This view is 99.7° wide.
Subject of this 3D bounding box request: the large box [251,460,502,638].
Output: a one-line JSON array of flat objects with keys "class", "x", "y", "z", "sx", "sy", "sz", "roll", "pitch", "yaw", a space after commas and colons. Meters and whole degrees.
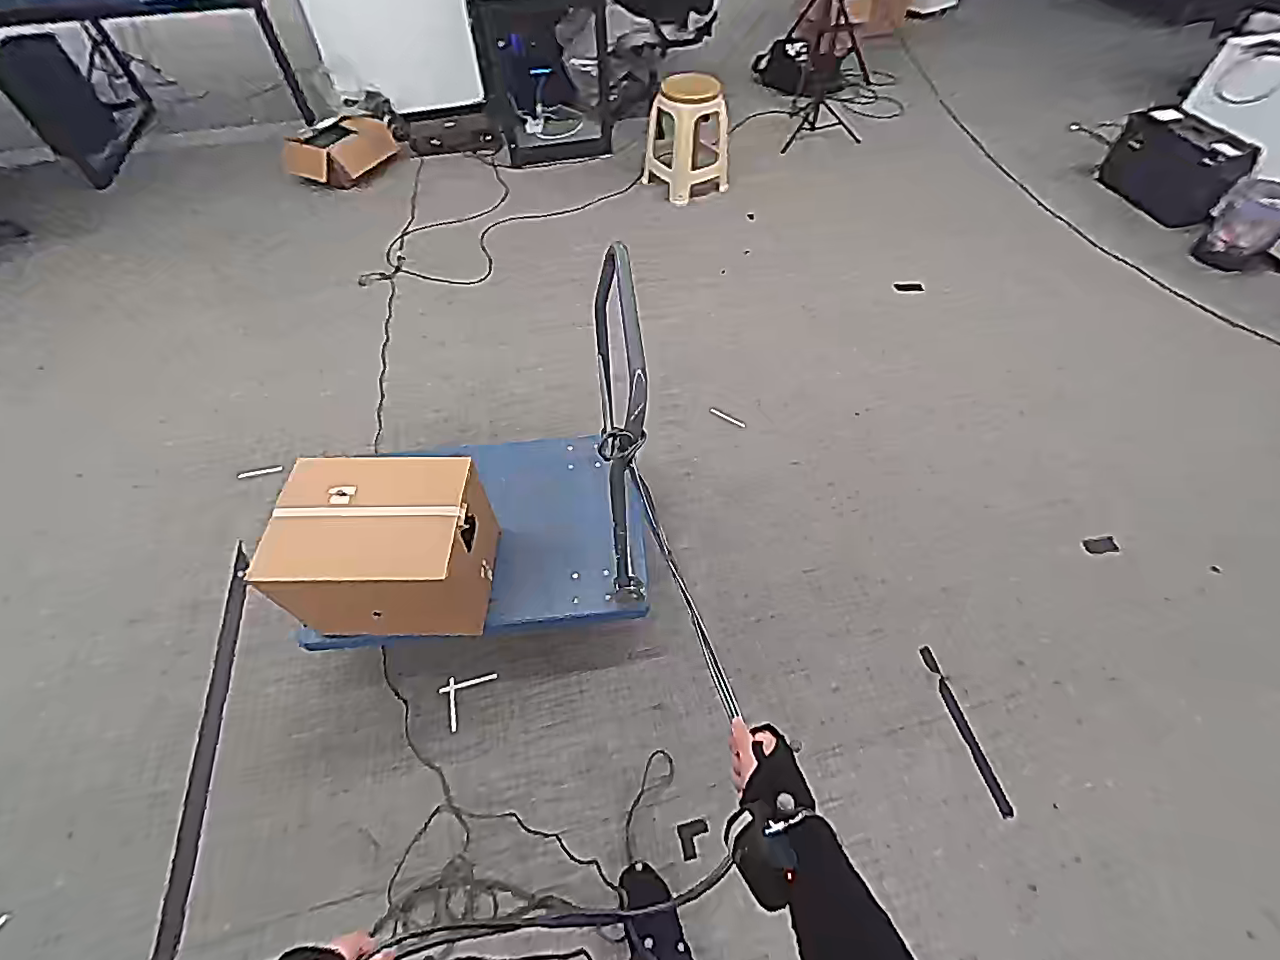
[{"class": "large box", "x": -0.571, "y": 0.169, "z": 1.272, "sx": 0.408, "sy": 0.320, "sz": 0.320, "roll": -1, "pitch": 53, "yaw": 0}]
